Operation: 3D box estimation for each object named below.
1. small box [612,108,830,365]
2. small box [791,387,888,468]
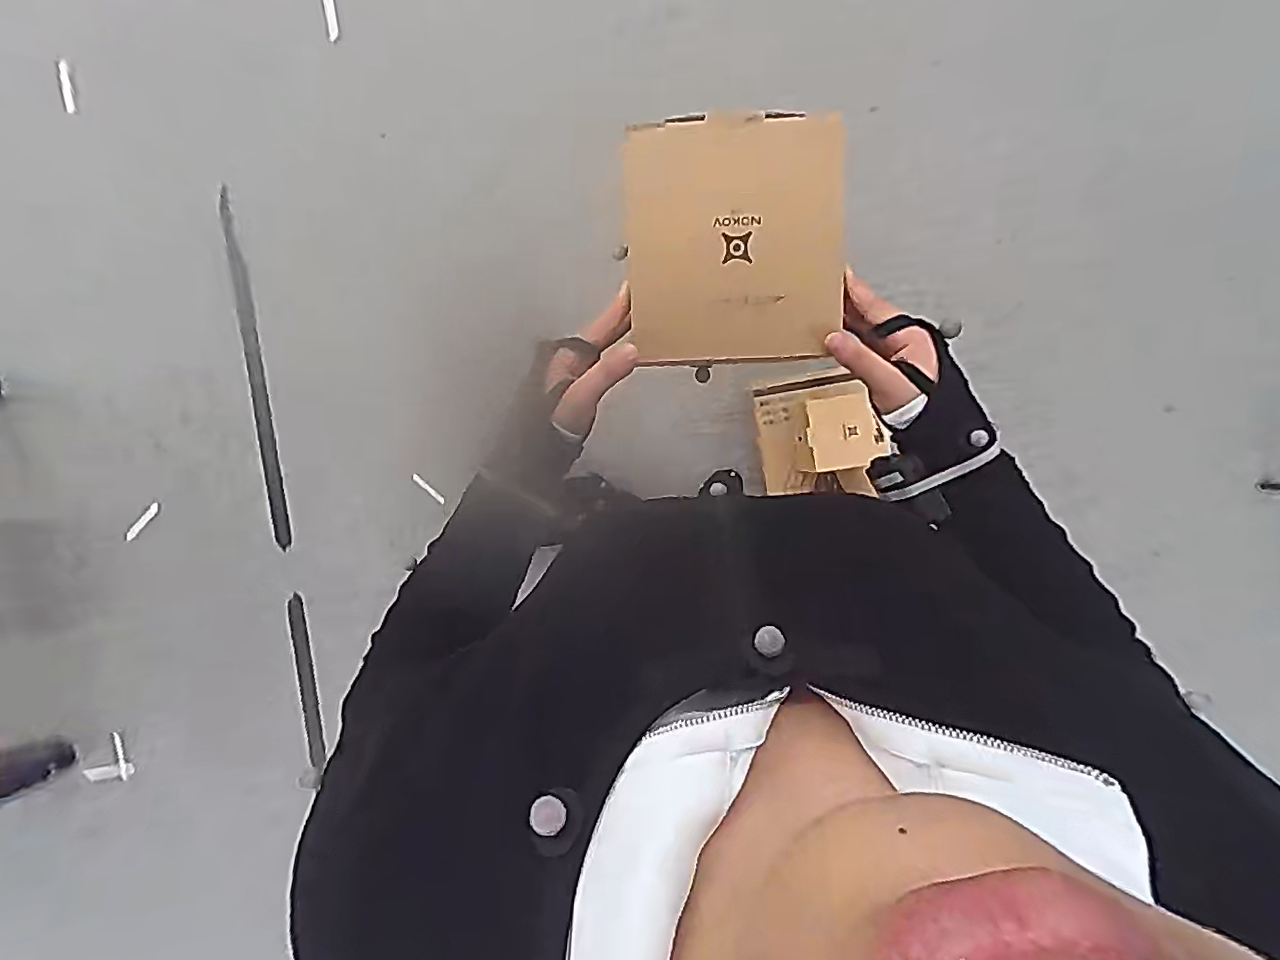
[{"bbox_3d":[0.061,-0.199,0.490,0.168,0.176,0.179,-3,101,0],"label":"small box"},{"bbox_3d":[0.466,-0.118,1.291,0.179,0.176,0.168,-8,91,4],"label":"small box"}]
